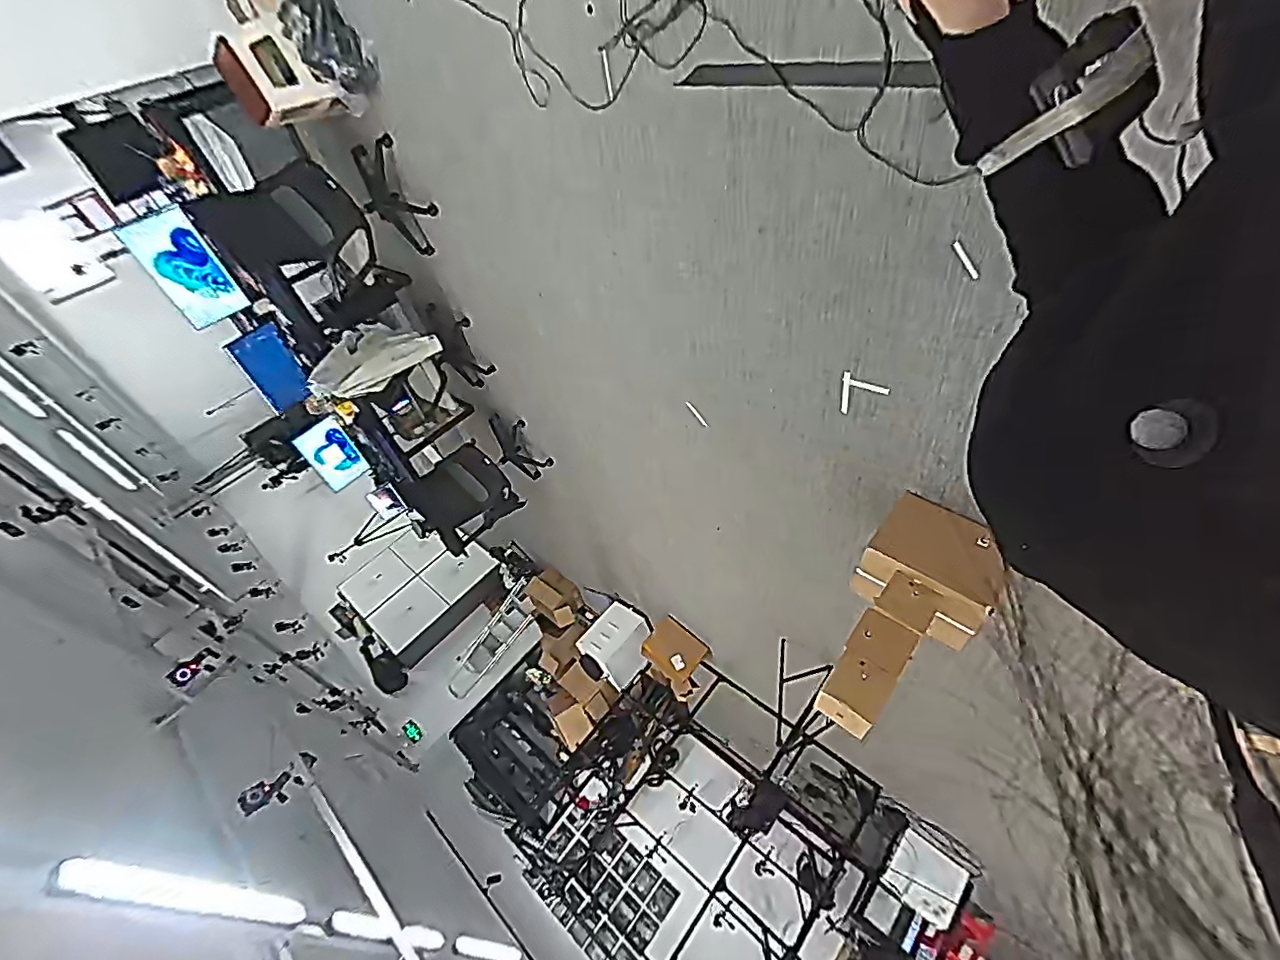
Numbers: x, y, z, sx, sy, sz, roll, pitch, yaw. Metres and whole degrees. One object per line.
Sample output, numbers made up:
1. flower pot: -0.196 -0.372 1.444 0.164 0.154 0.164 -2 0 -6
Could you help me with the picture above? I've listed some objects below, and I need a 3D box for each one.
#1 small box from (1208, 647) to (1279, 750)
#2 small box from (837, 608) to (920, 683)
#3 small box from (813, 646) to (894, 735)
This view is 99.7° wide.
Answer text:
1. small box: 1.519 0.521 1.285 0.168 0.176 0.179 51 156 -8
2. small box: 0.770 0.542 1.754 0.179 0.176 0.168 29 151 29
3. small box: 0.667 0.655 1.692 0.168 0.176 0.179 31 151 28
